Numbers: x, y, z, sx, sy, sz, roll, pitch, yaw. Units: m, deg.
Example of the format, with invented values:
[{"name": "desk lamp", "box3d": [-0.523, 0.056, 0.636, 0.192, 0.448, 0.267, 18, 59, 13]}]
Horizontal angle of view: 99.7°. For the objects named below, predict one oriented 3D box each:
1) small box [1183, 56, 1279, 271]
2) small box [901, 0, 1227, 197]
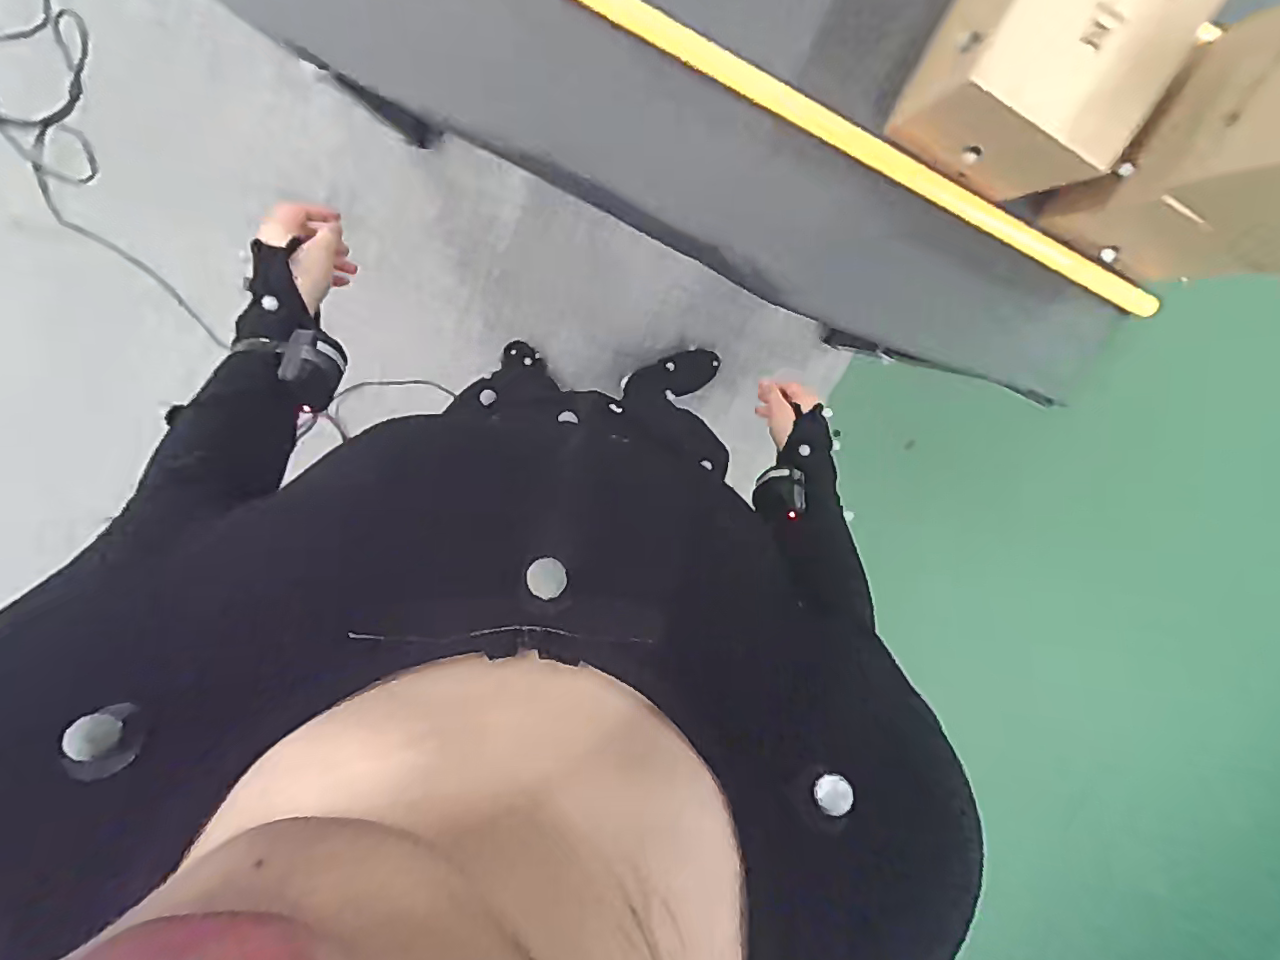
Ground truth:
[{"name": "small box", "box3d": [0.615, -0.279, 0.429, 0.179, 0.176, 0.168, 27, 105, -11]}, {"name": "small box", "box3d": [0.400, -0.418, 0.546, 0.168, 0.176, 0.179, 25, 105, -11]}]
